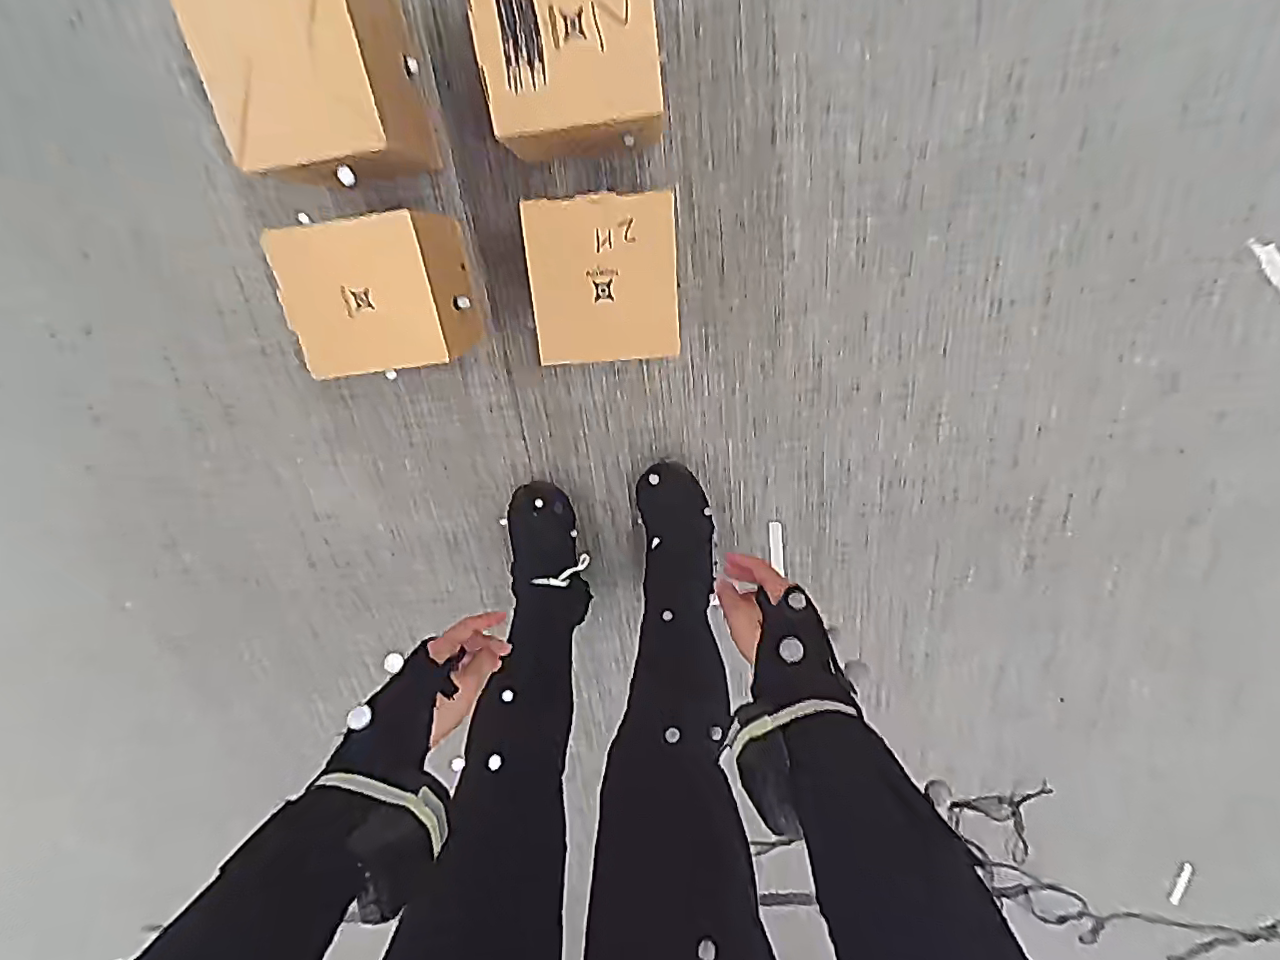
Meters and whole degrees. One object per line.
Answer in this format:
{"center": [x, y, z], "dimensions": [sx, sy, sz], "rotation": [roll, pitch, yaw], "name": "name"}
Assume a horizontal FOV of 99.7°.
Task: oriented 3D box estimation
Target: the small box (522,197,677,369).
{"center": [-0.039, -0.246, 0.674], "dimensions": [0.168, 0.176, 0.179], "rotation": [-3, 113, 1], "name": "small box"}

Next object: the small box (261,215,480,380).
{"center": [-0.316, -0.235, 0.685], "dimensions": [0.179, 0.176, 0.168], "rotation": [-6, 113, 4], "name": "small box"}
